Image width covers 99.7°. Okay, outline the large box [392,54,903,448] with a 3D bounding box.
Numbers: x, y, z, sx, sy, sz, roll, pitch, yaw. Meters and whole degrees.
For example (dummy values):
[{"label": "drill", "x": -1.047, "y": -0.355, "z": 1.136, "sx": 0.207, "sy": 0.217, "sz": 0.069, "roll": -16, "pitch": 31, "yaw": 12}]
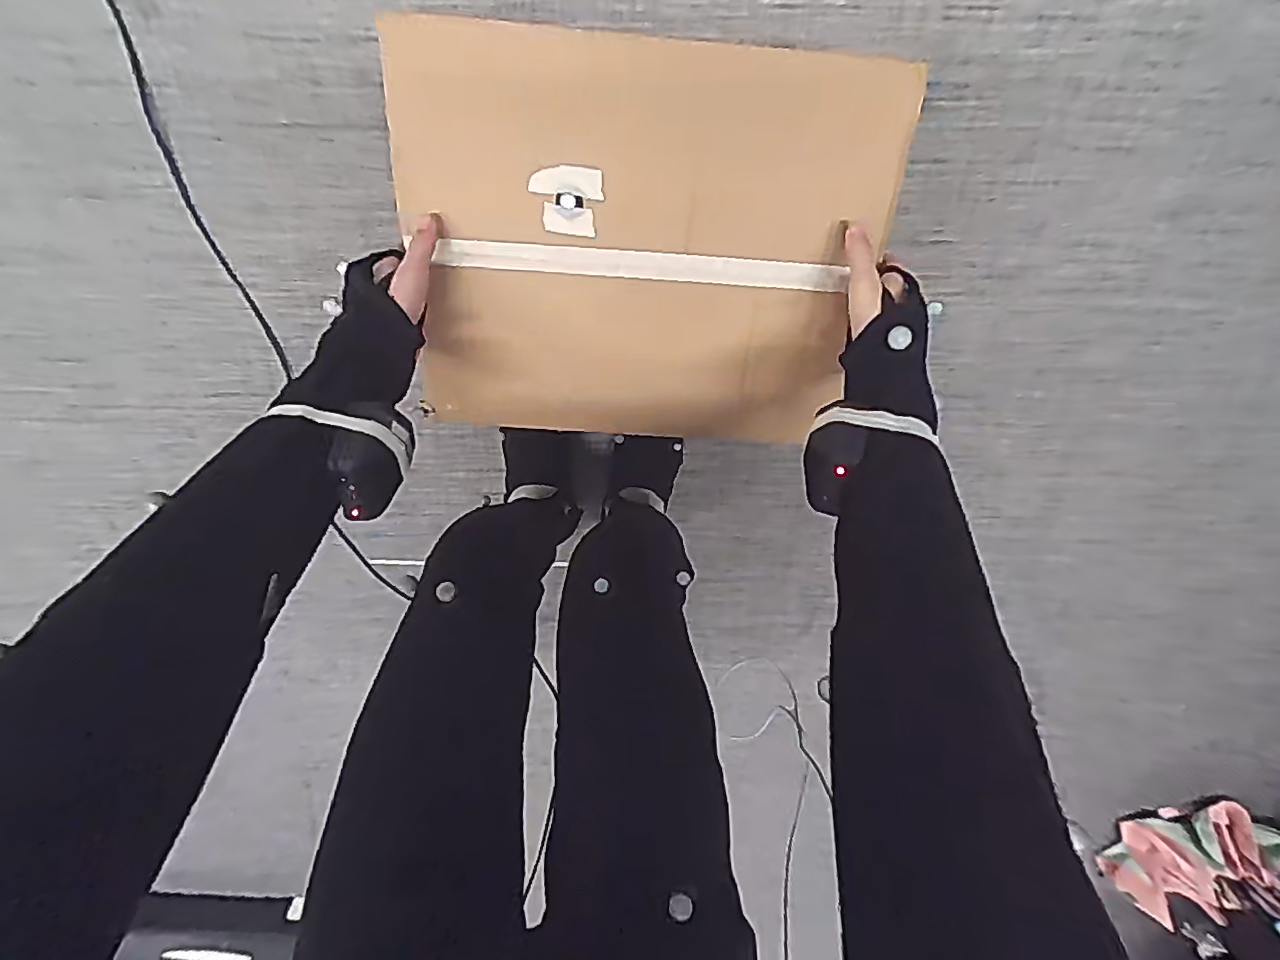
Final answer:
[{"label": "large box", "x": 0.002, "y": -0.245, "z": 0.612, "sx": 0.408, "sy": 0.320, "sz": 0.320, "roll": 3, "pitch": 116, "yaw": -2}]
